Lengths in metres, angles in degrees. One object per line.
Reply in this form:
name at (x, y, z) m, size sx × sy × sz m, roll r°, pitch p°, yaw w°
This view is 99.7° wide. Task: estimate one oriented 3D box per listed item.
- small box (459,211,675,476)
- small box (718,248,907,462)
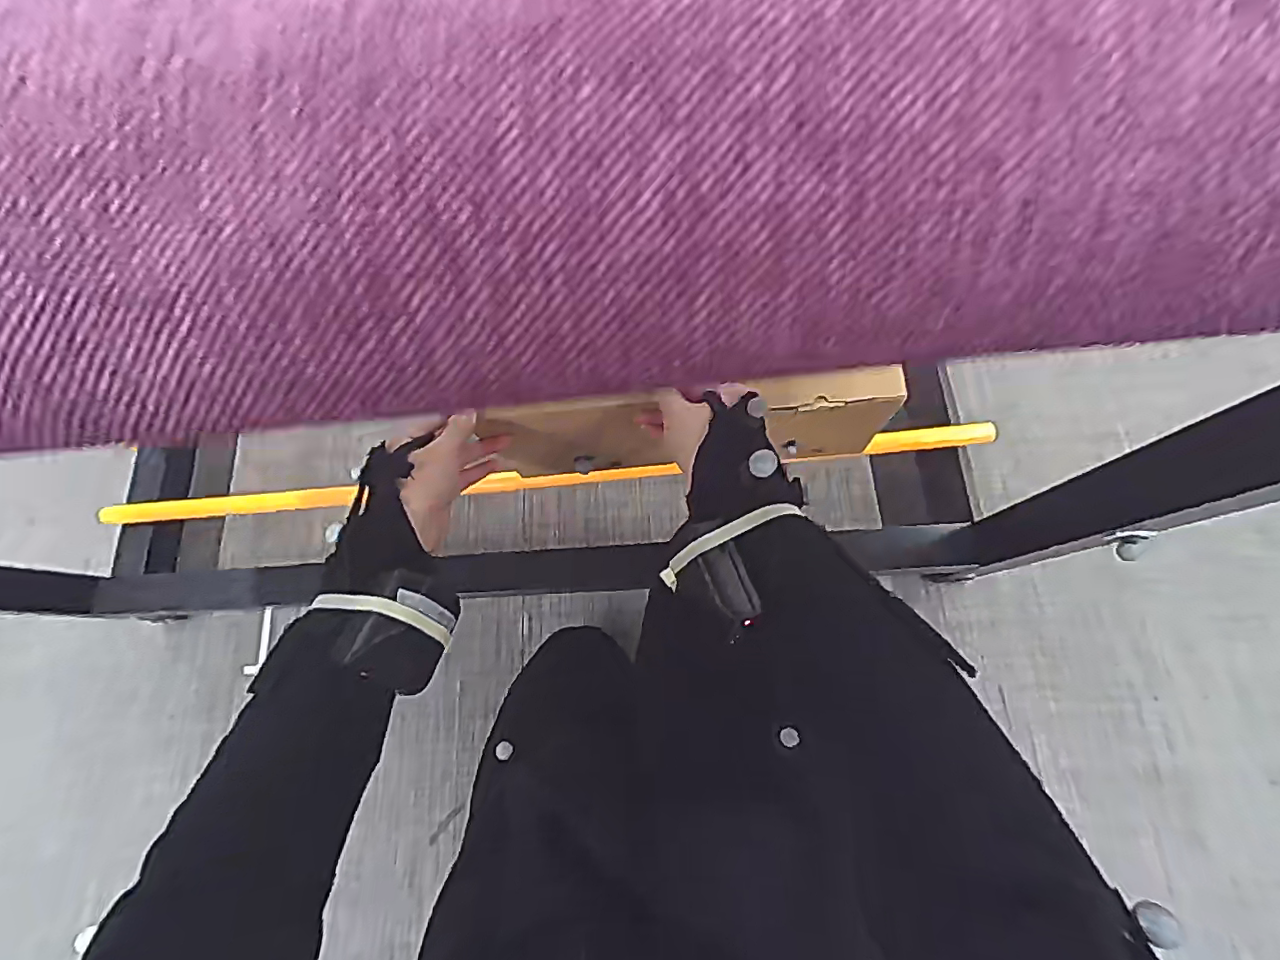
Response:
small box at (-0.056, -0.114, 0.509) m, size 0.168 × 0.176 × 0.179 m, roll -5°, pitch 75°, yaw 4°
small box at (0.181, -0.133, 0.626) m, size 0.168 × 0.176 × 0.179 m, roll -5°, pitch 74°, yaw 5°
